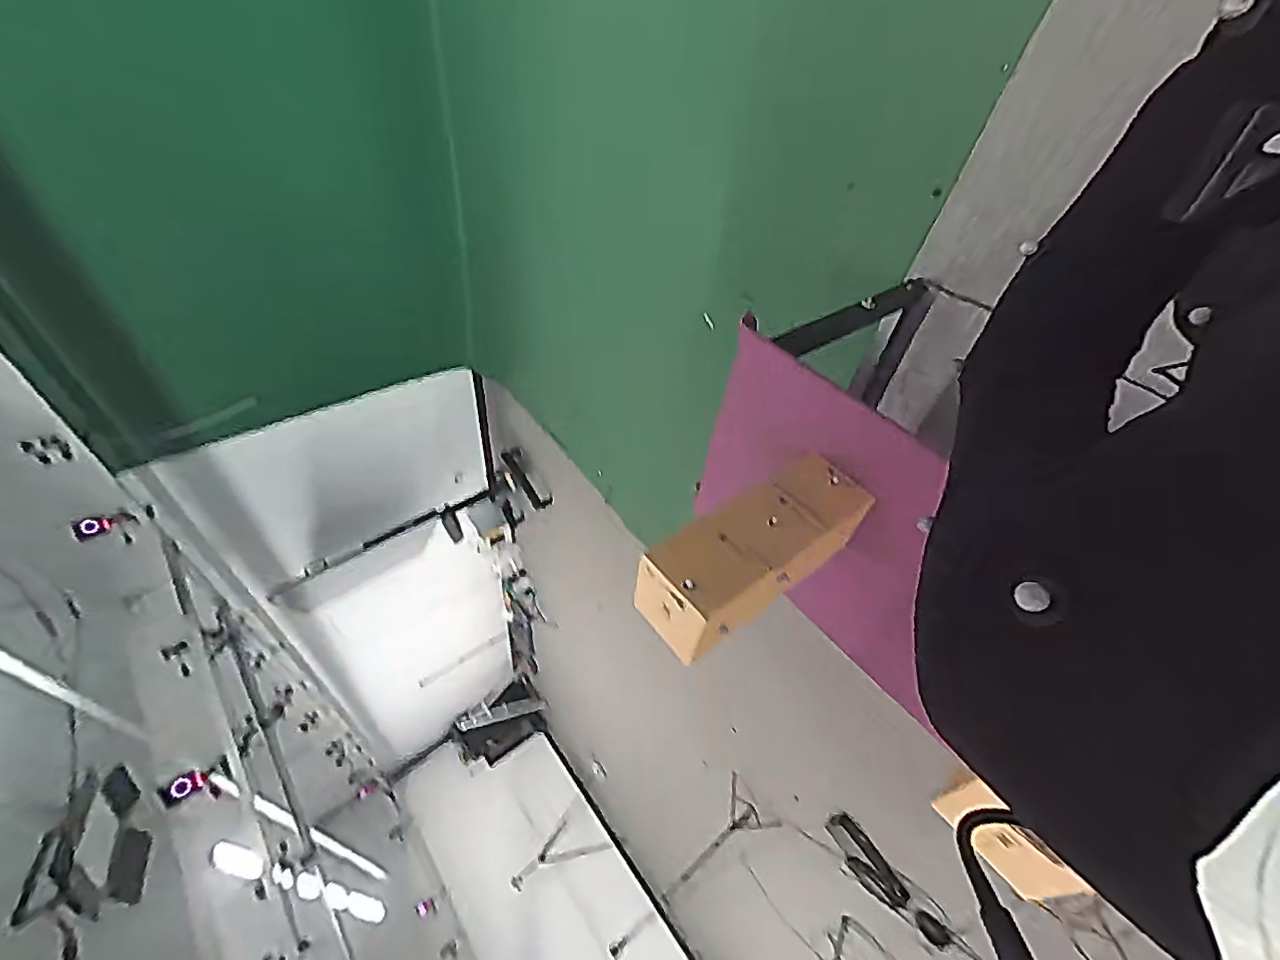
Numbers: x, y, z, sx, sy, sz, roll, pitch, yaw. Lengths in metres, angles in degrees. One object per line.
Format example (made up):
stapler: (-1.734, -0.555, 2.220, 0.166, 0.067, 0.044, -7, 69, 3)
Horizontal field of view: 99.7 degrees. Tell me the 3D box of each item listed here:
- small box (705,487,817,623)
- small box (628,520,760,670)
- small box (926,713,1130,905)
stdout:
small box: (0.226, 0.144, 1.082, 0.168, 0.176, 0.179, 45, 146, 28)
small box: (0.098, 0.209, 1.002, 0.168, 0.176, 0.179, 42, 145, 29)
small box: (0.583, 0.488, 0.816, 0.168, 0.176, 0.179, 43, 146, 28)
